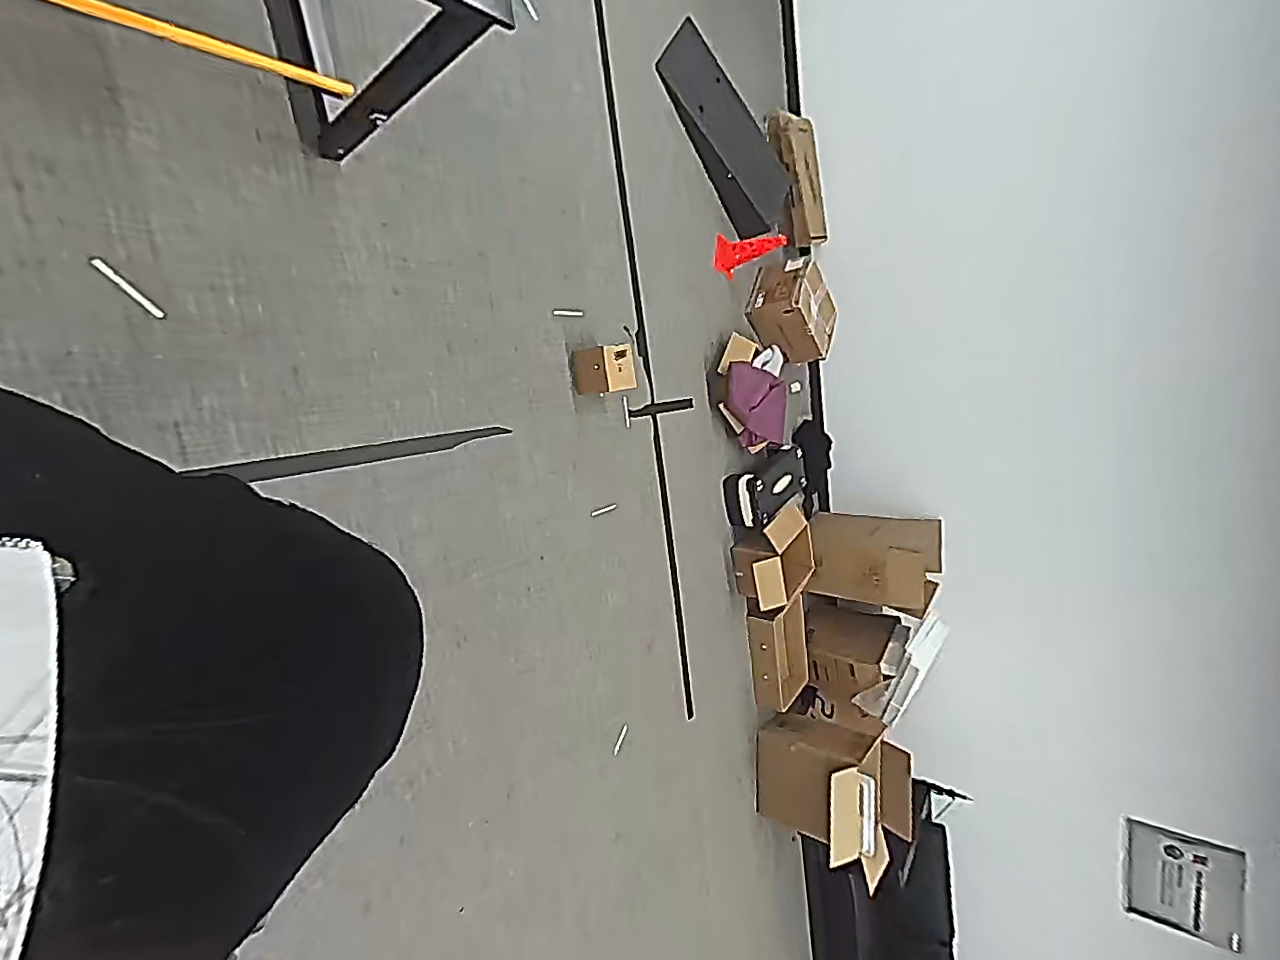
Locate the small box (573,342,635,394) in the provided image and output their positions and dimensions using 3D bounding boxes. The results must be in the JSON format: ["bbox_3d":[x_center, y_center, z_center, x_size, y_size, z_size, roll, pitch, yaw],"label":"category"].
[{"bbox_3d":[-0.144,-0.439,2.121,0.168,0.176,0.179,-21,107,-48],"label":"small box"}]
